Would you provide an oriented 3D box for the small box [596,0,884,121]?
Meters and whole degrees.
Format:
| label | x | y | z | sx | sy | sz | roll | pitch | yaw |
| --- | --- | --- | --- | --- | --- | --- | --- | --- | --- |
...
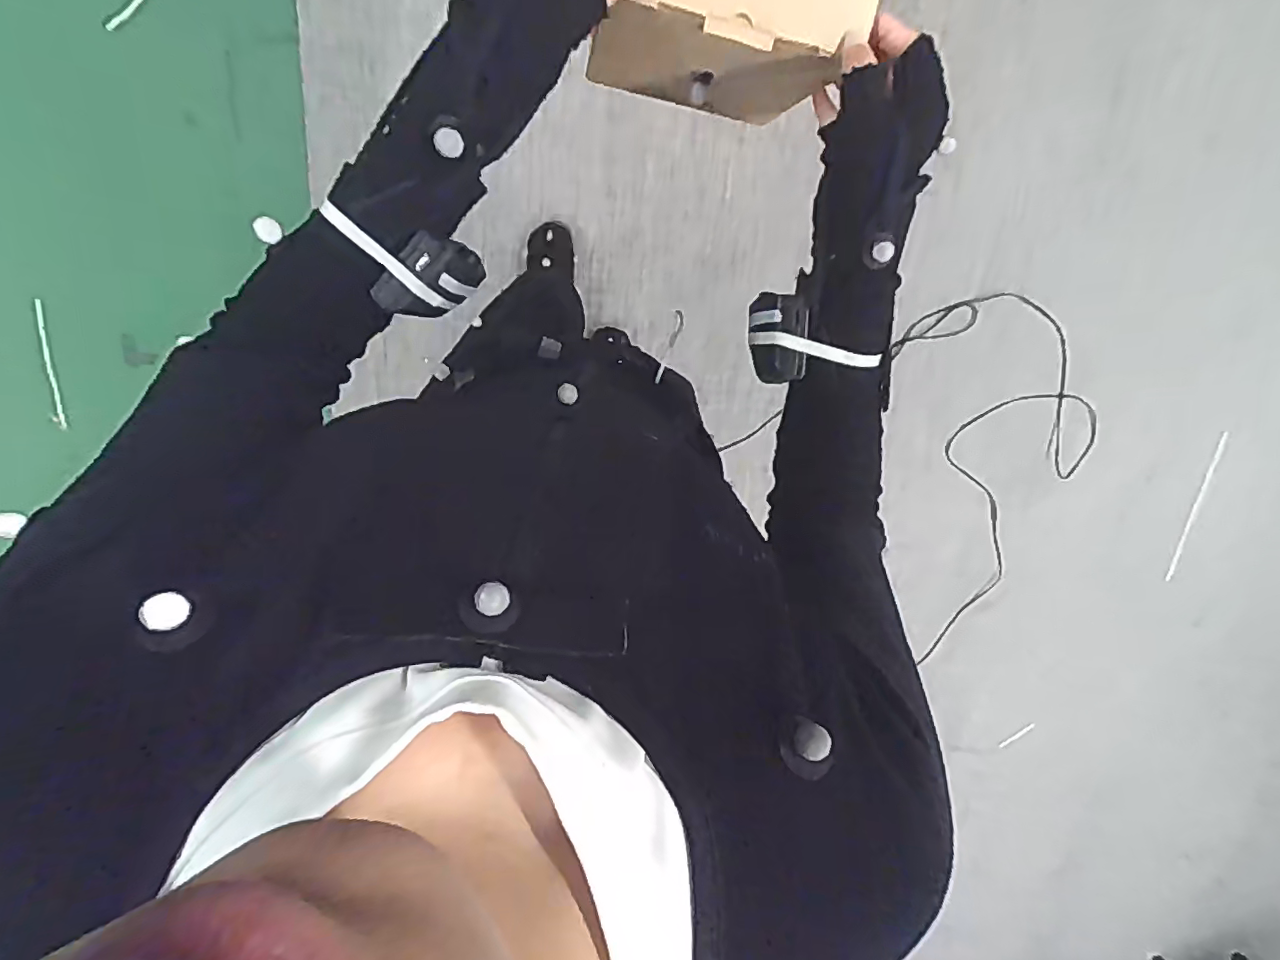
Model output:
| label | x | y | z | sx | sy | sz | roll | pitch | yaw |
| --- | --- | --- | --- | --- | --- | --- | --- | --- | --- |
| small box | 0.066 | -0.373 | 0.368 | 0.168 | 0.176 | 0.179 | 6 | 112 | -13 |
